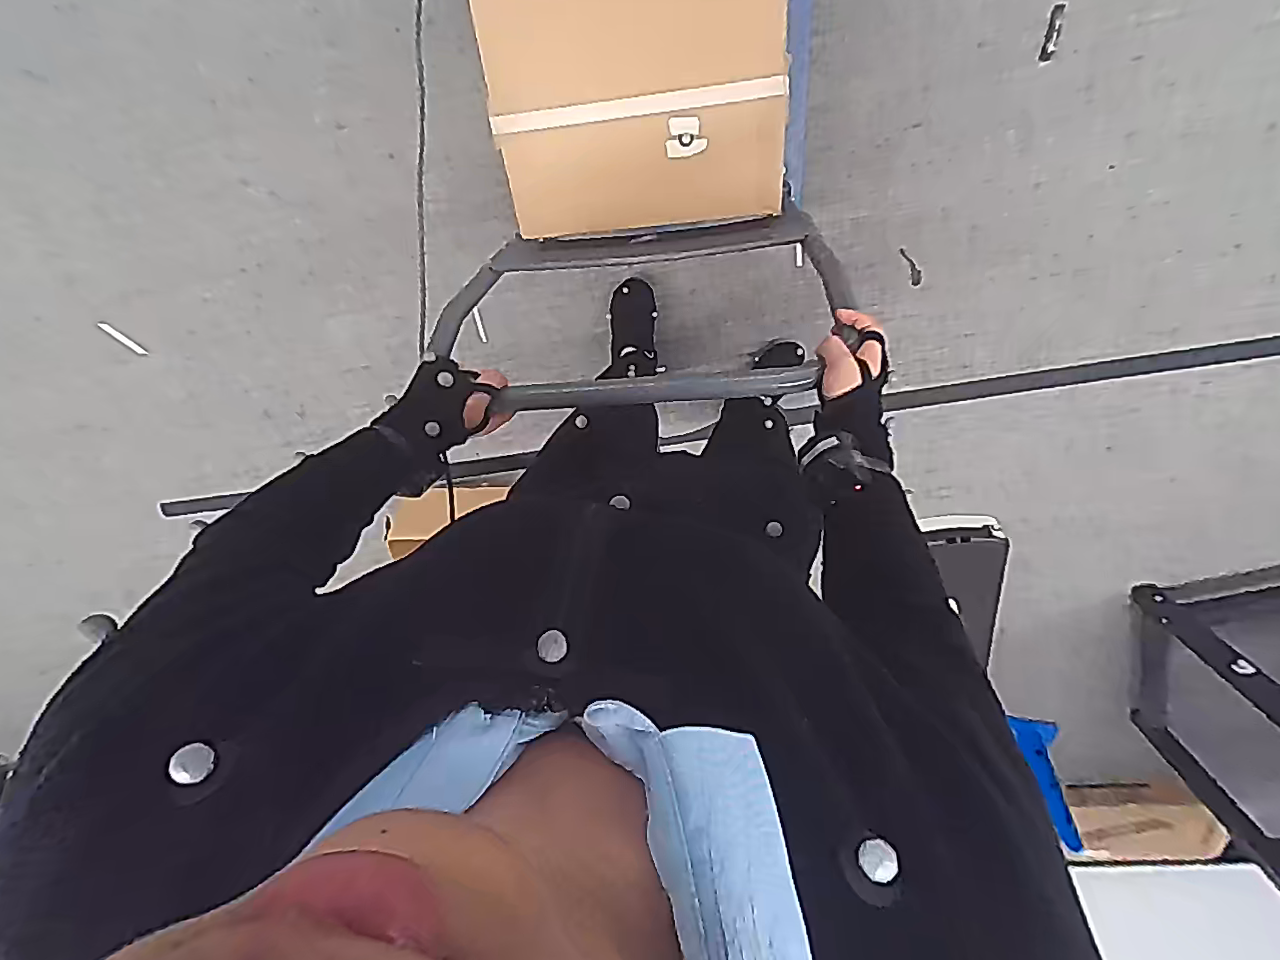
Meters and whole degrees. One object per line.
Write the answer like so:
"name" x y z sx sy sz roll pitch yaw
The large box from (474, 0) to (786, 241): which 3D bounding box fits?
"large box" 0.006 -0.604 0.877 0.408 0.320 0.320 -3 125 7
